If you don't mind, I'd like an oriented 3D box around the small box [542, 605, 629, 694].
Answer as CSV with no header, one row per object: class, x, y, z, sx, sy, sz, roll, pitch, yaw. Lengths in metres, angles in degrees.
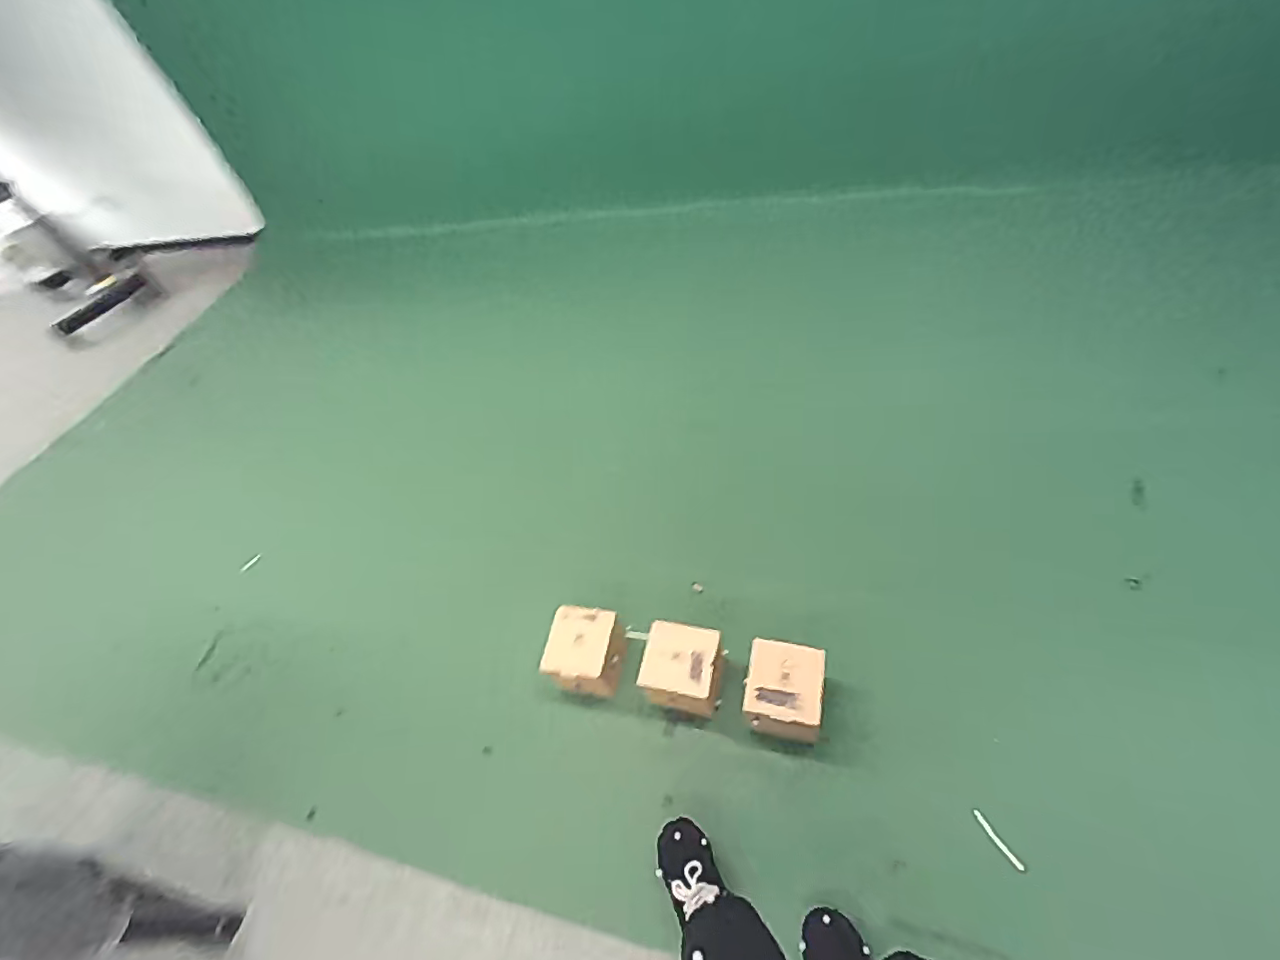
small box,-0.138,0.460,1.458,0.168,0.176,0.179,4,55,17
